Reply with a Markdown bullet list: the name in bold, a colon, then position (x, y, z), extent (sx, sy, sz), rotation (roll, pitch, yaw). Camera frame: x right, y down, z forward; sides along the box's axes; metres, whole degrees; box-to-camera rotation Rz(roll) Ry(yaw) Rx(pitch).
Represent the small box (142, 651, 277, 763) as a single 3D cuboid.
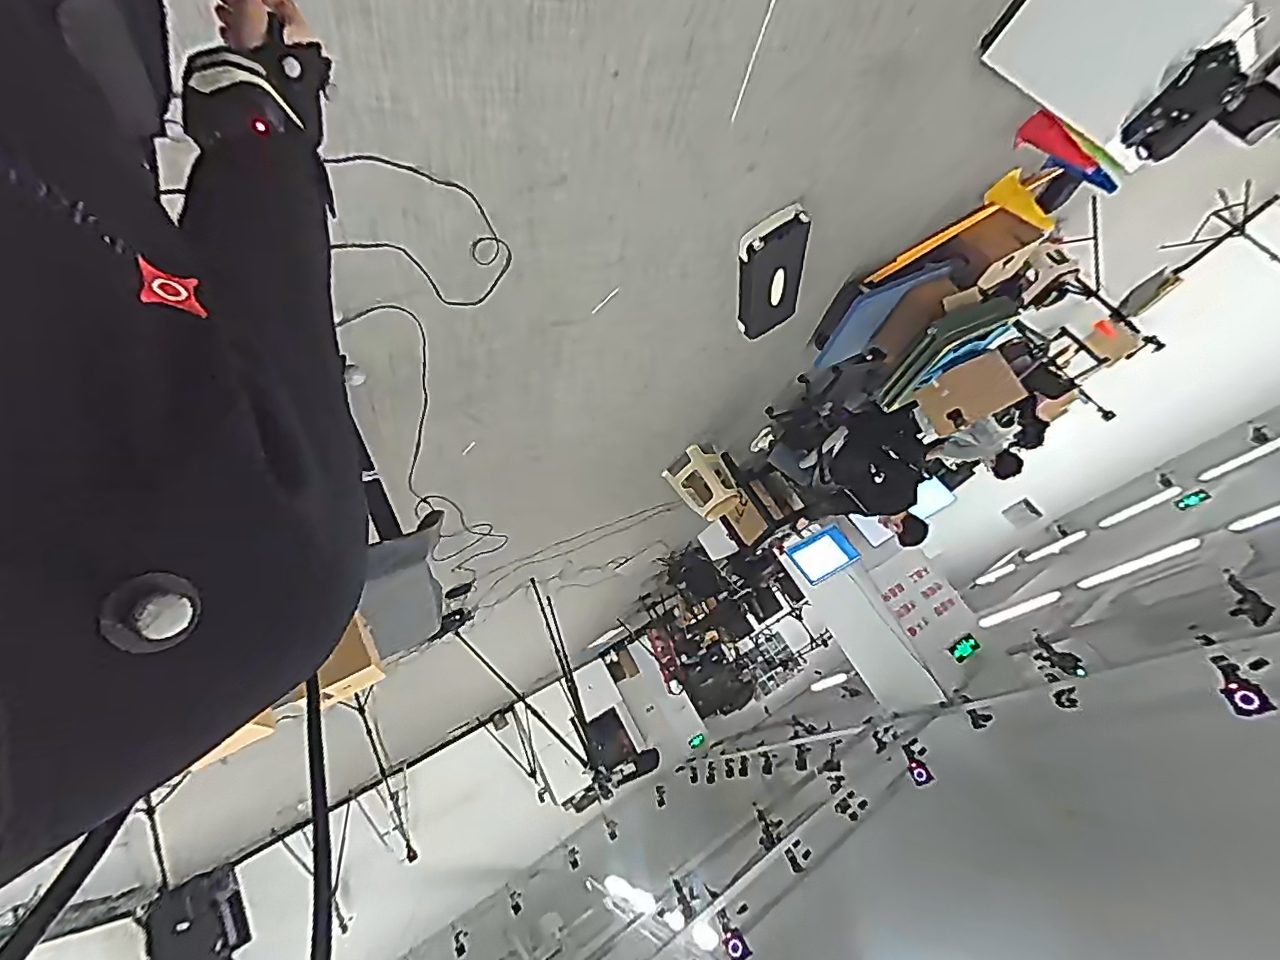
- **small box**: position (-0.972, 0.513, 1.227), extent (0.179, 0.176, 0.168), rotation (-23, 159, -23)
